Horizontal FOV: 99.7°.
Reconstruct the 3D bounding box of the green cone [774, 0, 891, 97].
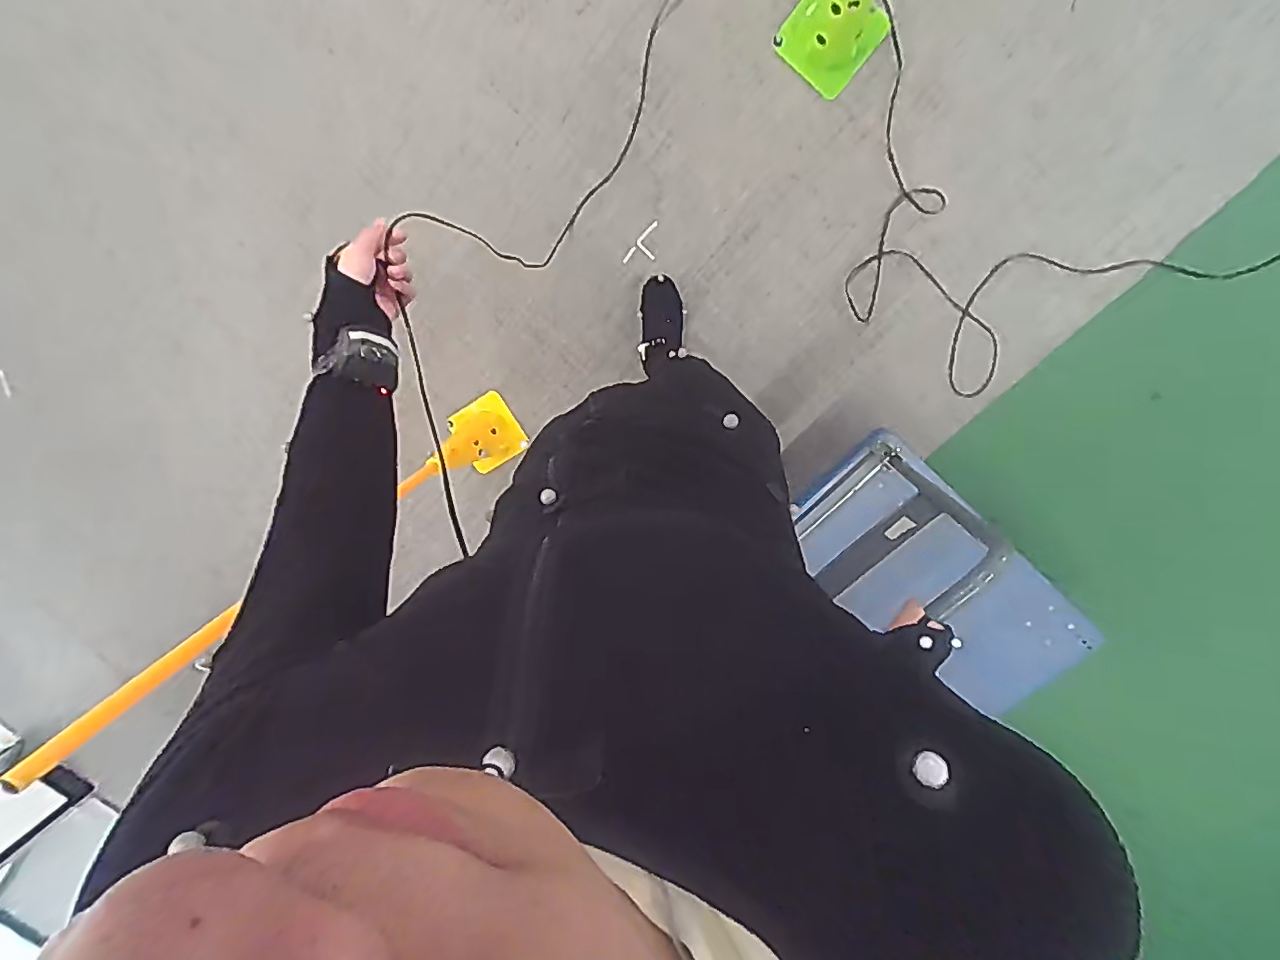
[{"bbox_3d":[0.422,-0.975,1.073,0.200,0.368,0.202,38,107,-7],"label":"green cone"}]
